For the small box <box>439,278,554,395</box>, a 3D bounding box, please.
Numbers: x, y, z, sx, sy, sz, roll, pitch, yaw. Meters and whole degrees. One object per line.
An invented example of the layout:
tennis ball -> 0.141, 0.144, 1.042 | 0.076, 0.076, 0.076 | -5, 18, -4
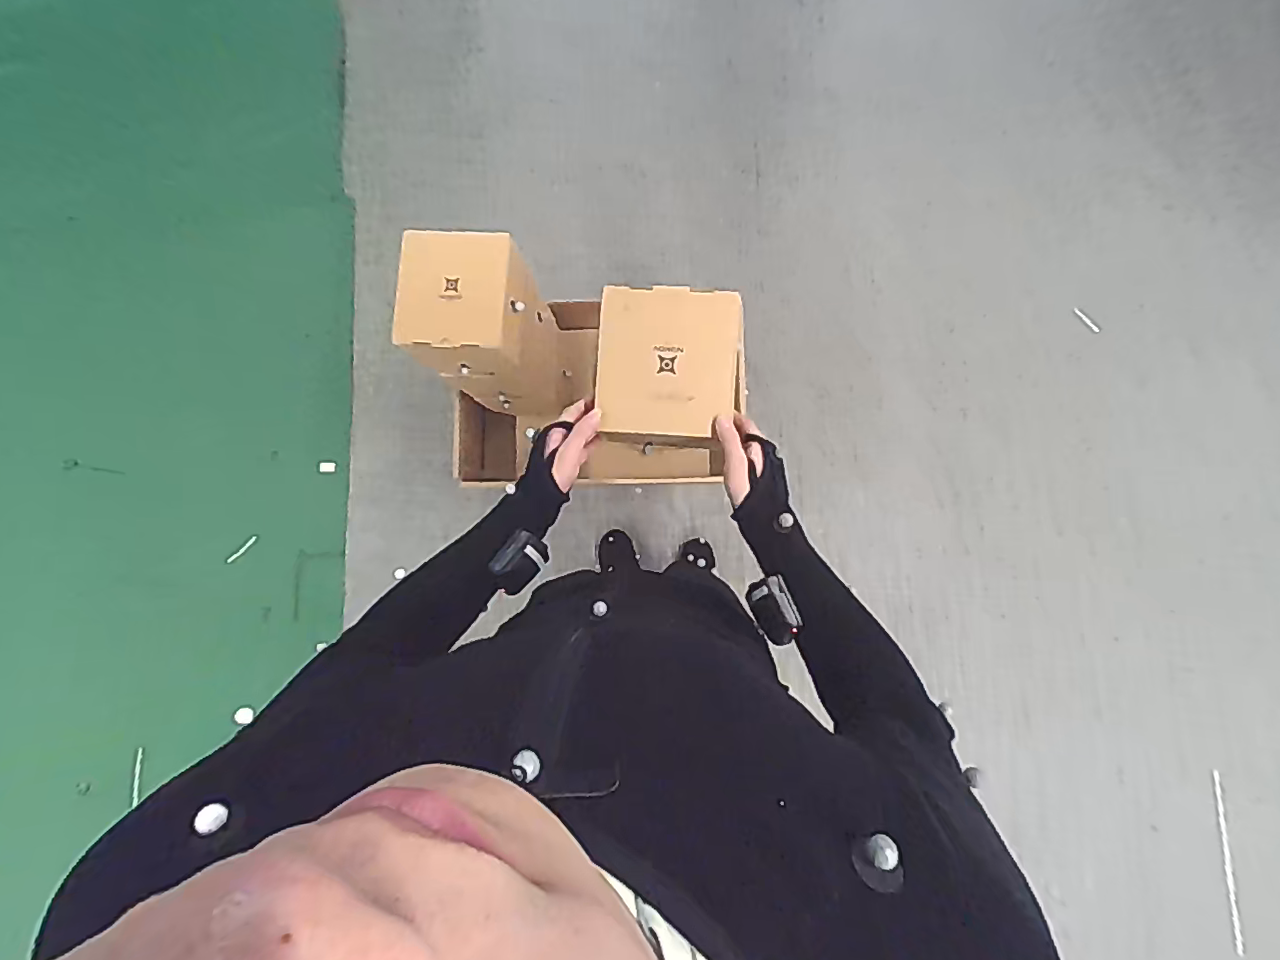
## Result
small box -> -0.264, -0.270, 1.033 | 0.168, 0.176, 0.179 | 2, 86, 4

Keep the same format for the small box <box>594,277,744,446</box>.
small box -> 0.035, -0.144, 0.711 | 0.168, 0.176, 0.179 | 4, 89, 1

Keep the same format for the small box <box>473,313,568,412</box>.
small box -> -0.256, -0.256, 1.196 | 0.168, 0.176, 0.179 | 1, 85, 3

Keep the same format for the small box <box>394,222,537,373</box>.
small box -> -0.269, -0.285, 0.871 | 0.168, 0.176, 0.179 | 4, 86, 3
